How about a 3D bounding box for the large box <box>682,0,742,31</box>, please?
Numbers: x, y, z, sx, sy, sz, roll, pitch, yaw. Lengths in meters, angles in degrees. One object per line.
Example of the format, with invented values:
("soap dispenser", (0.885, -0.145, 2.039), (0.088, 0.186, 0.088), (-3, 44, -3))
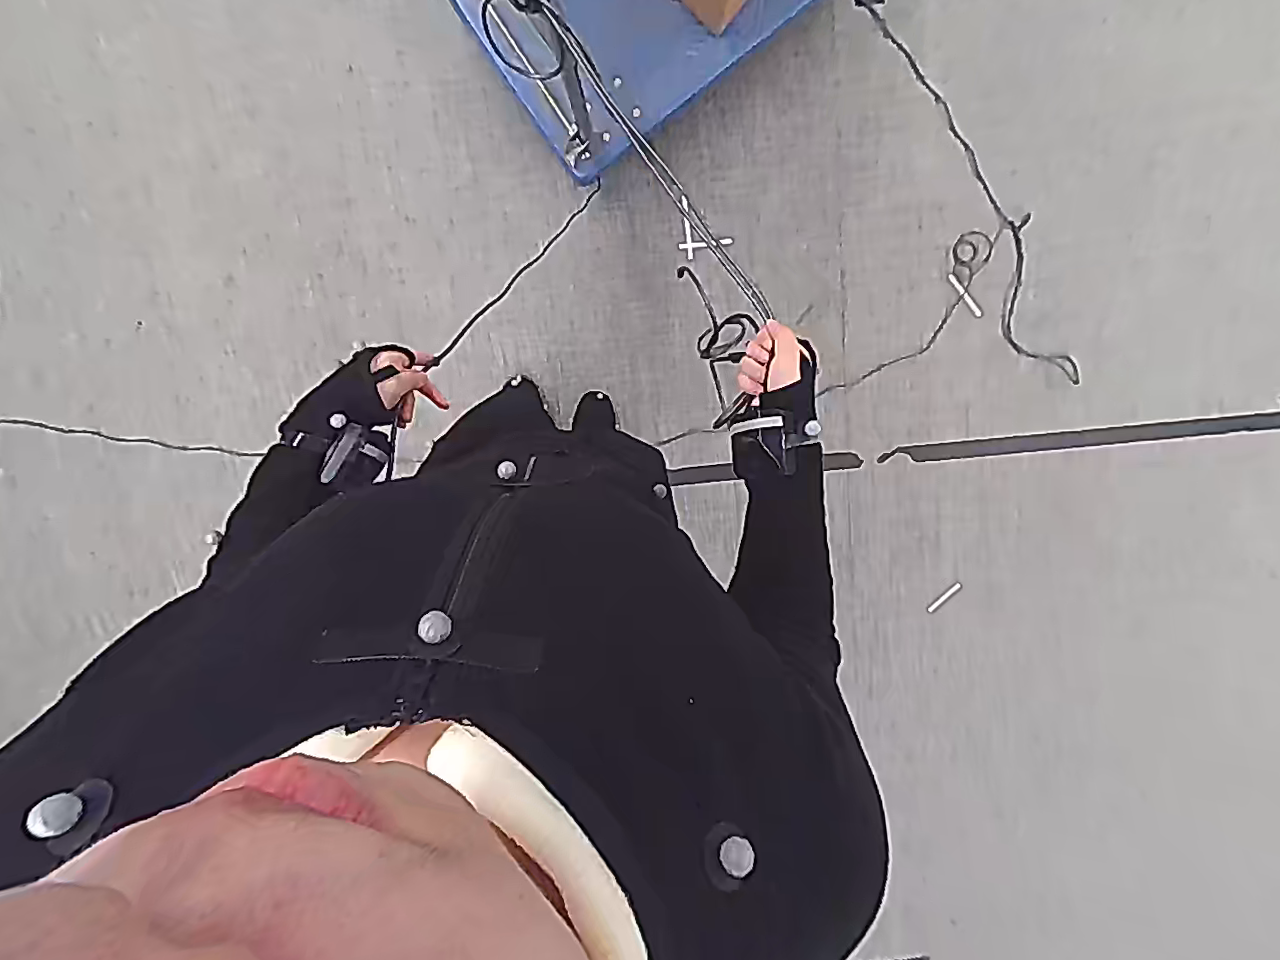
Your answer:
("large box", (0.106, -1.126, 0.924), (0.408, 0.320, 0.320), (39, 100, -10))
